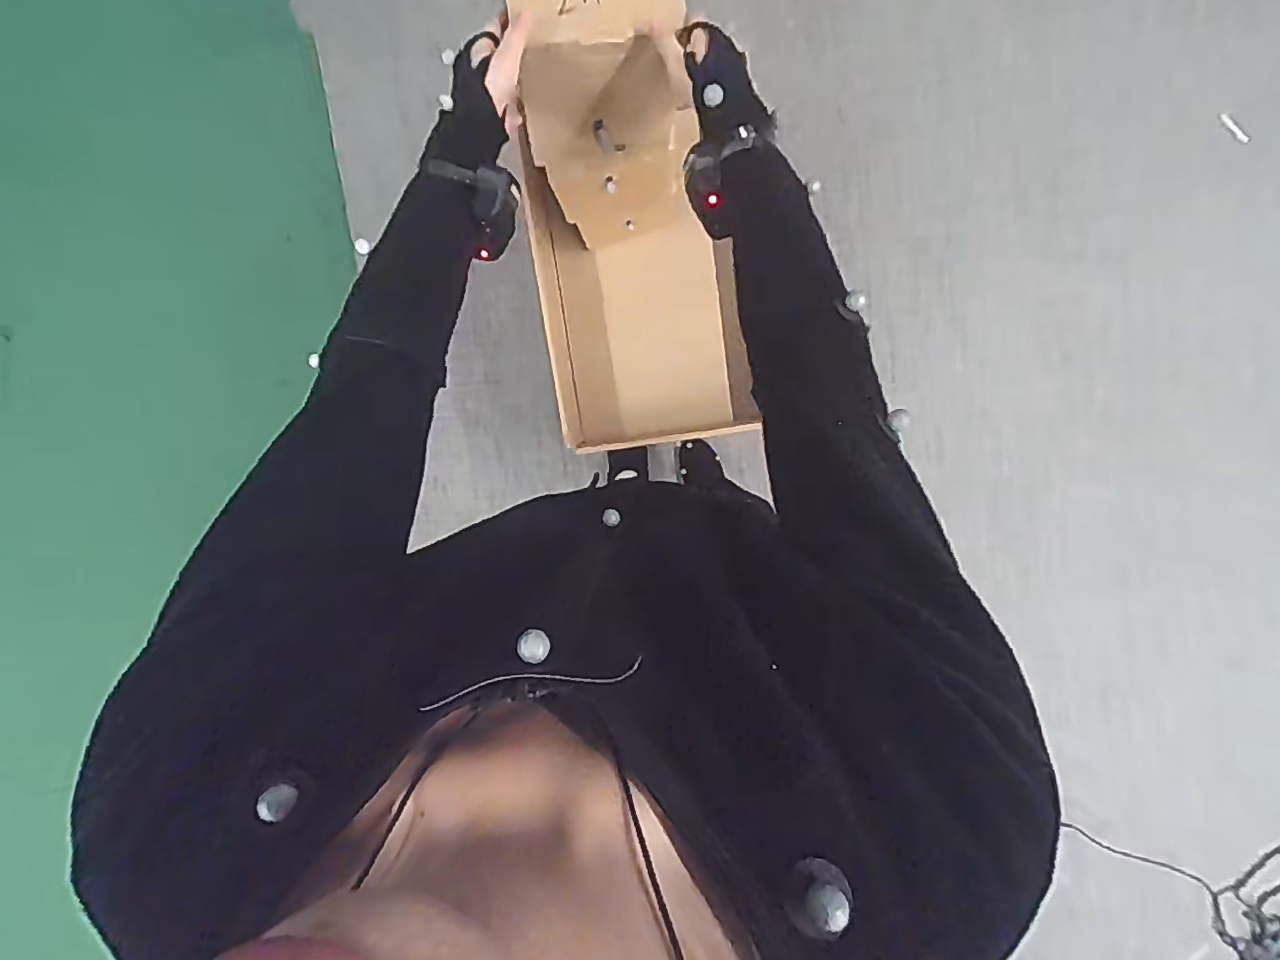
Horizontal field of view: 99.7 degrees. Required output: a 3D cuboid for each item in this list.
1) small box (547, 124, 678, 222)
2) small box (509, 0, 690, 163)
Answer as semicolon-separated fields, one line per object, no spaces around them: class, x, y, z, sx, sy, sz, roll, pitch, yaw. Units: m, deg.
small box;-0.048;-0.501;0.787;0.179;0.176;0.168;-12;97;5
small box;-0.051;-0.480;0.580;0.168;0.176;0.179;-8;86;-5
